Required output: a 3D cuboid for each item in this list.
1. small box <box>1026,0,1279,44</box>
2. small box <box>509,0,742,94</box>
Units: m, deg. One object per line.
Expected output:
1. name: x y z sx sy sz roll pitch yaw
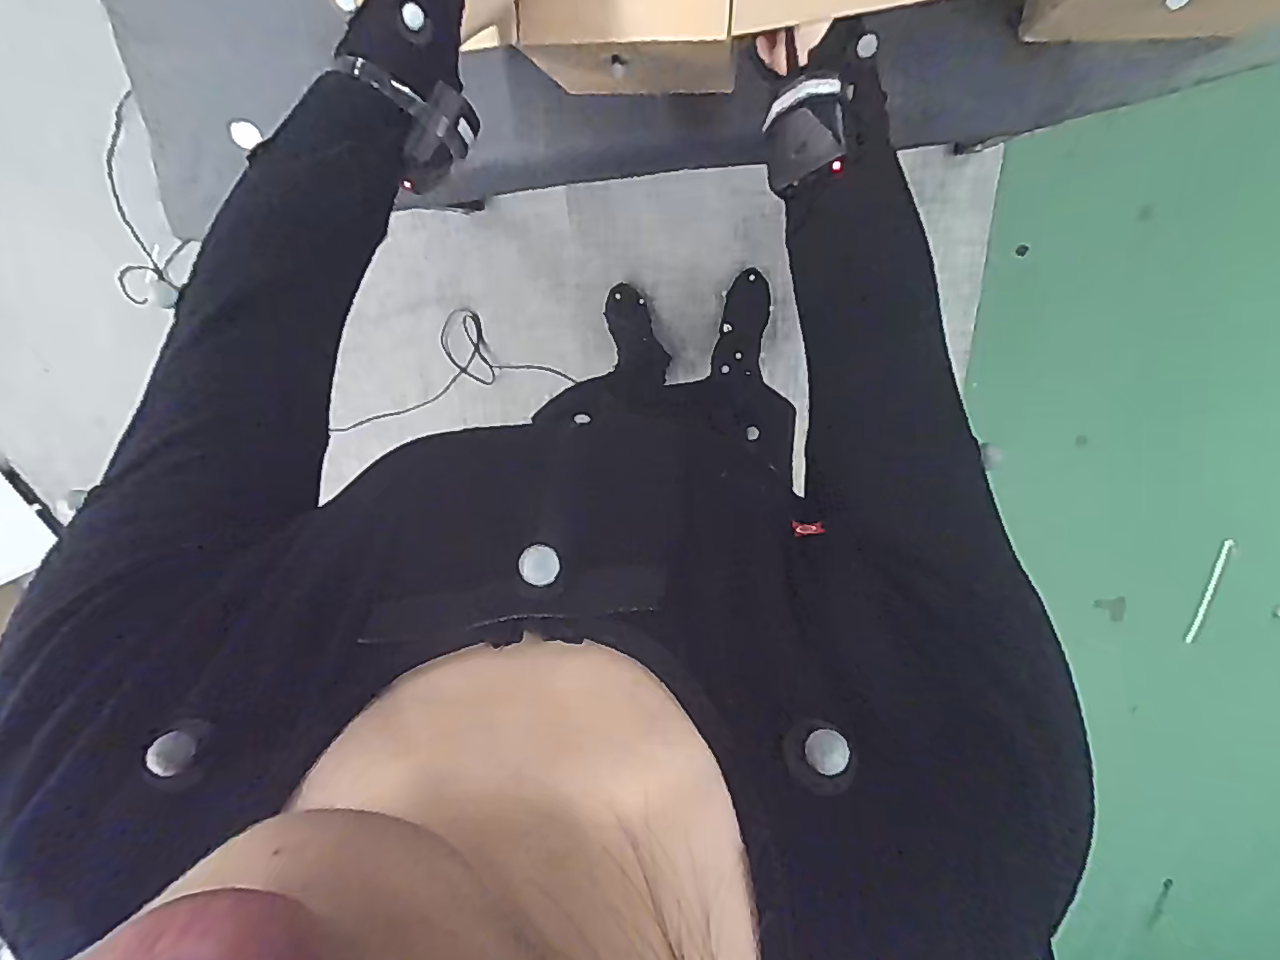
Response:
1. small box: 0.416 -0.435 0.378 0.179 0.176 0.168 6 112 10
2. small box: -0.002 -0.444 0.459 0.179 0.176 0.168 5 116 8
